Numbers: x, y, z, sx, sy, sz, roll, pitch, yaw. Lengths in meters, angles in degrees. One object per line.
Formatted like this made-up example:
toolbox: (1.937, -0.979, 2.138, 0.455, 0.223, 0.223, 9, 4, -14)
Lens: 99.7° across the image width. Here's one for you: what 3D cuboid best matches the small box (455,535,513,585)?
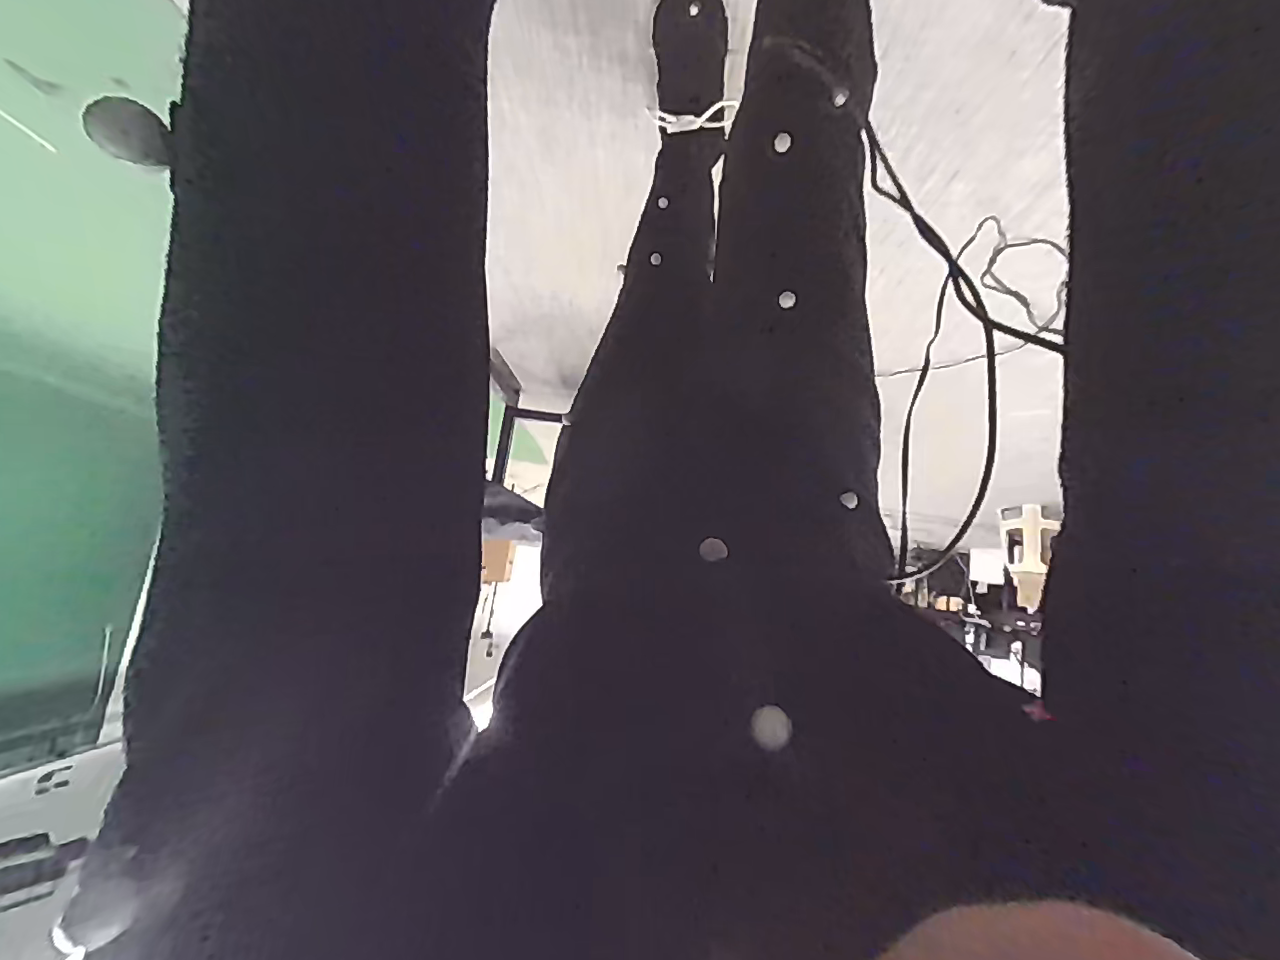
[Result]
small box: (-0.593, 0.308, 2.086, 0.179, 0.176, 0.168, 9, 169, -3)
